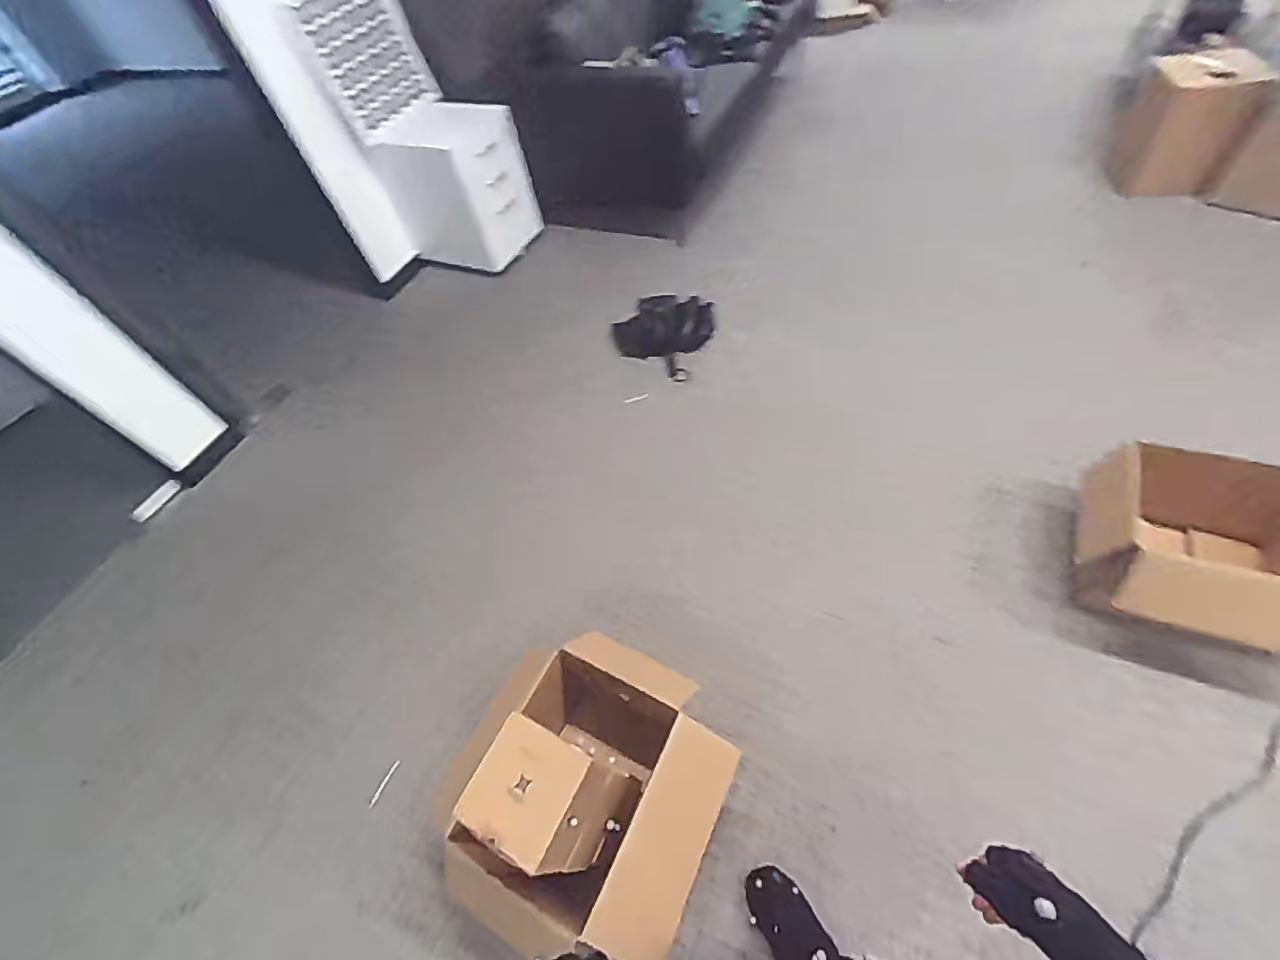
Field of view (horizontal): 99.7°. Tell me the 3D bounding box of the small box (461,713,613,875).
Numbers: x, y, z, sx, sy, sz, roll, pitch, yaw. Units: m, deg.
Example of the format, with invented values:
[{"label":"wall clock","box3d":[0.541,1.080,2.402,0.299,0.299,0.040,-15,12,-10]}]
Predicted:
[{"label":"small box","box3d":[-0.162,0.534,0.924,0.168,0.176,0.179,19,62,21]}]
